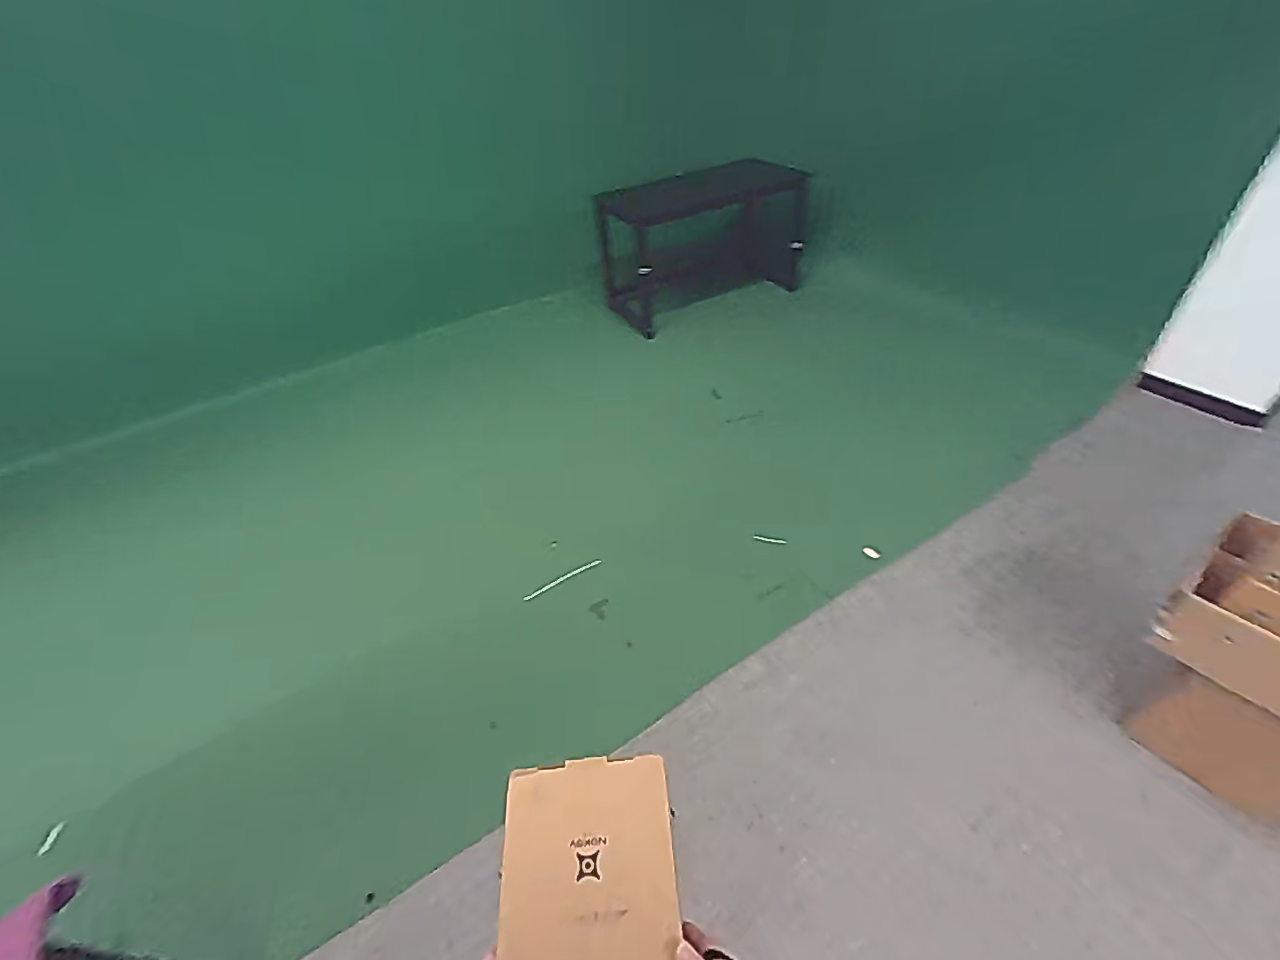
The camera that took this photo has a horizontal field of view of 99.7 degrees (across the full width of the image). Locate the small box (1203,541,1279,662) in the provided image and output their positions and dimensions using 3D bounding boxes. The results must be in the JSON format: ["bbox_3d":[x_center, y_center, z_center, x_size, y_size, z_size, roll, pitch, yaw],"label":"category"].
[{"bbox_3d":[1.441,0.278,1.223,0.179,0.176,0.168,-30,47,-26],"label":"small box"}]

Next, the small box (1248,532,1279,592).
[{"bbox_3d":[1.430,0.158,1.112,0.179,0.176,0.168,-27,46,-23],"label":"small box"}]

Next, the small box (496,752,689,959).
[{"bbox_3d":[-0.040,0.406,0.562,0.168,0.176,0.179,-5,48,1],"label":"small box"}]
